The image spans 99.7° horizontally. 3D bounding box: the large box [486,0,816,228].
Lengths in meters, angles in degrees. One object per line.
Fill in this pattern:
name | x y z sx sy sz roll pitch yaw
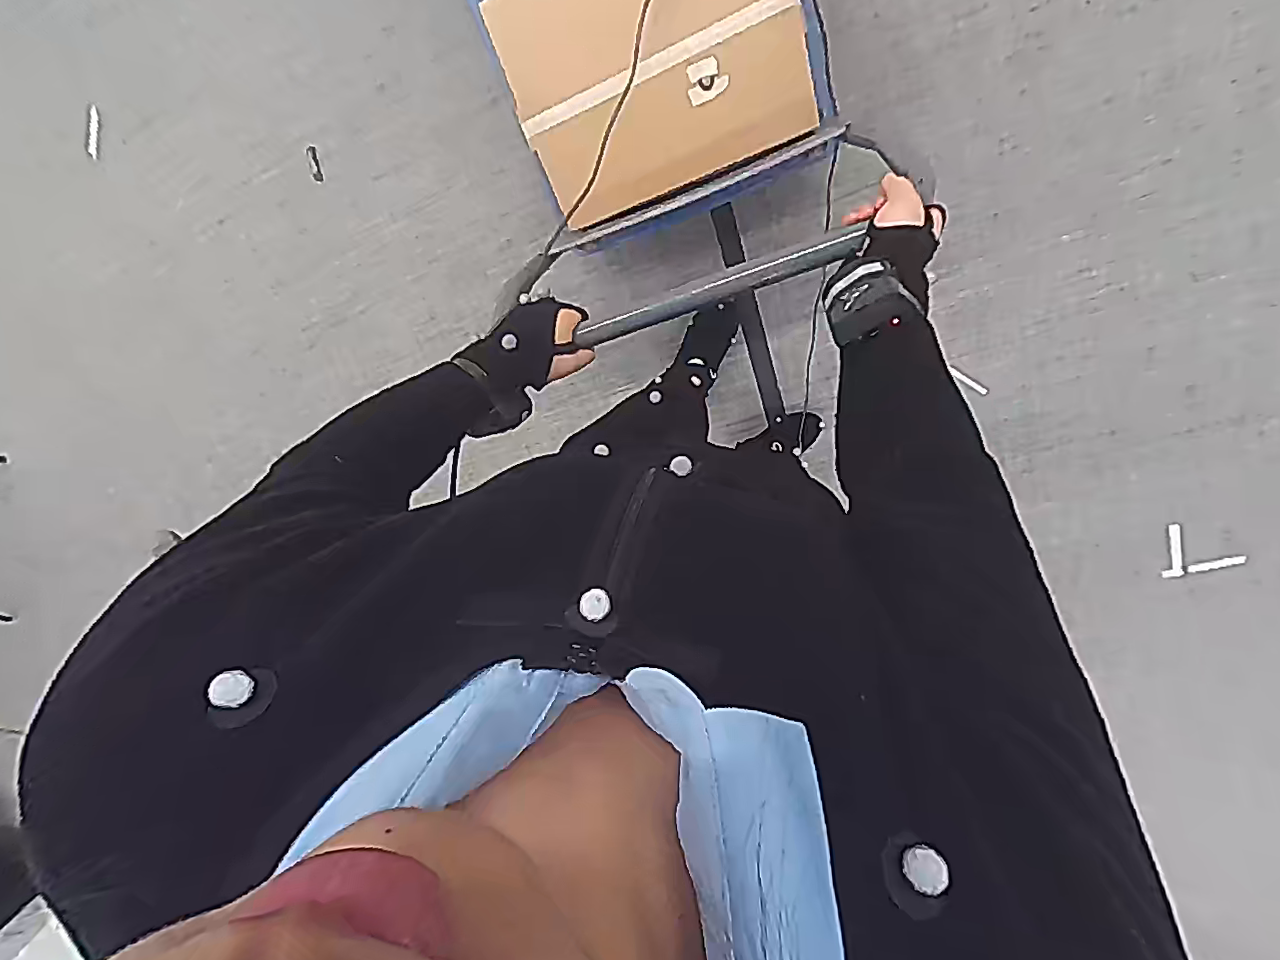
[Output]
large box | 0.033 -0.665 0.896 0.408 0.320 0.320 -16 118 16
